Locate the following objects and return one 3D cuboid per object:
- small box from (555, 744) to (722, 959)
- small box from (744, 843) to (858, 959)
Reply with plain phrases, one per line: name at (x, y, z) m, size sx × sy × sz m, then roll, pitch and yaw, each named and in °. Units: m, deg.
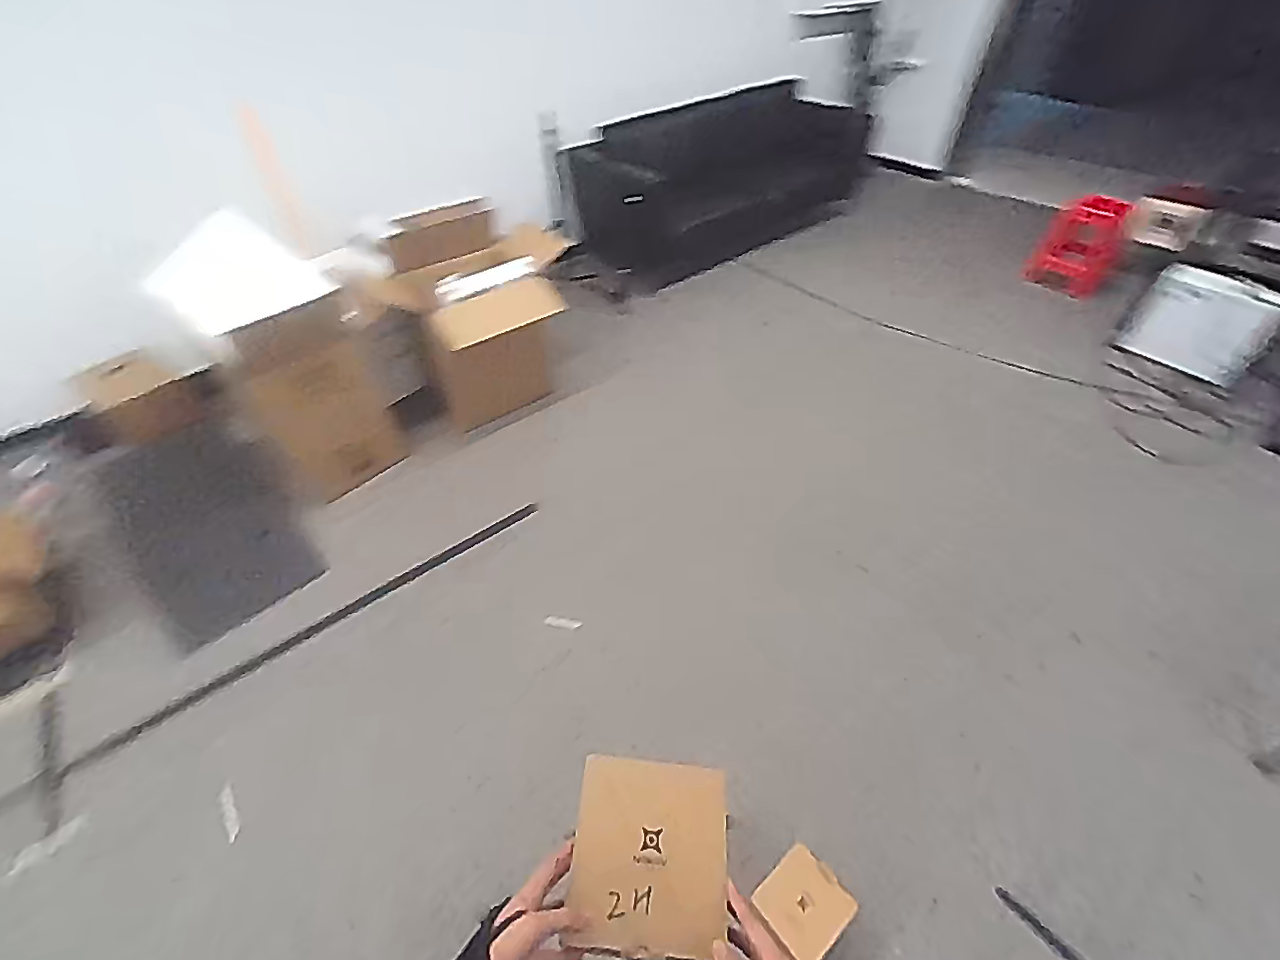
small box at (0.001, 0.435, 0.632) m, size 0.168 × 0.176 × 0.179 m, roll 6°, pitch 48°, yaw 1°
small box at (0.354, 0.973, 1.220) m, size 0.179 × 0.176 × 0.168 m, roll -30°, pitch 49°, yaw -26°
